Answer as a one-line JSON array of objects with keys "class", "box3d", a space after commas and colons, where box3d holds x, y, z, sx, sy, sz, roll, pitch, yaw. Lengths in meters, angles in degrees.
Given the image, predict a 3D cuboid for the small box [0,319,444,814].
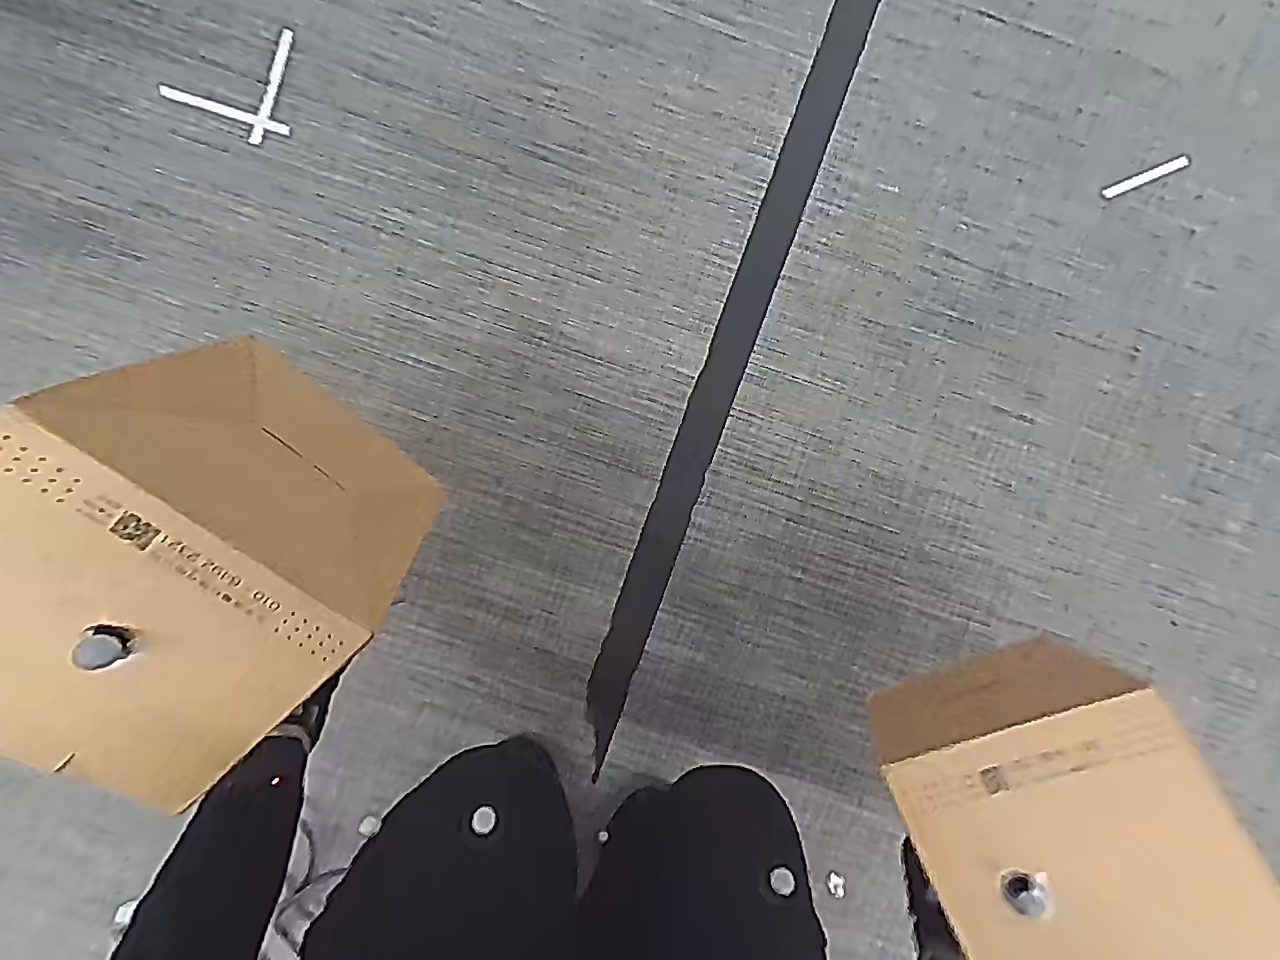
[{"class": "small box", "box3d": [-0.243, 0.032, 0.305, 0.176, 0.179, 0.168, -41, 111, 12]}]
